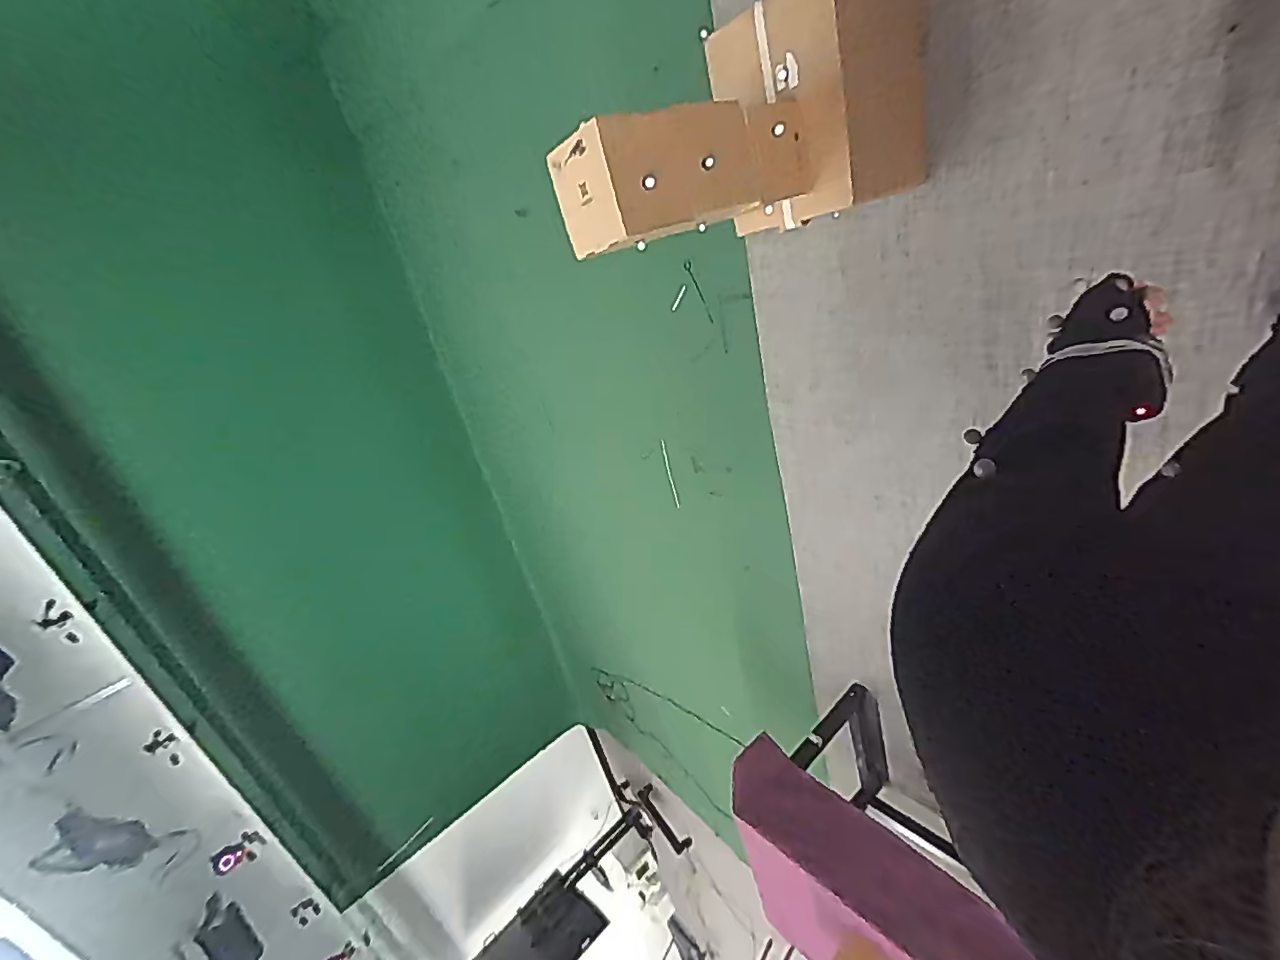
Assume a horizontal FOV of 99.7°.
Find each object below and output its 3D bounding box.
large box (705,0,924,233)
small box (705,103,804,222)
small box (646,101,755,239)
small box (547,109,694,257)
[{"bbox_3d":[0.393,-0.810,1.191,0.320,0.320,0.408,15,126,50],"label":"large box"},{"bbox_3d":[0.218,-0.646,1.108,0.179,0.176,0.168,14,126,52],"label":"small box"},{"bbox_3d":[0.094,-0.582,1.021,0.168,0.176,0.179,7,120,53],"label":"small box"},{"bbox_3d":[-0.028,-0.511,0.937,0.168,0.176,0.179,11,124,52],"label":"small box"}]
